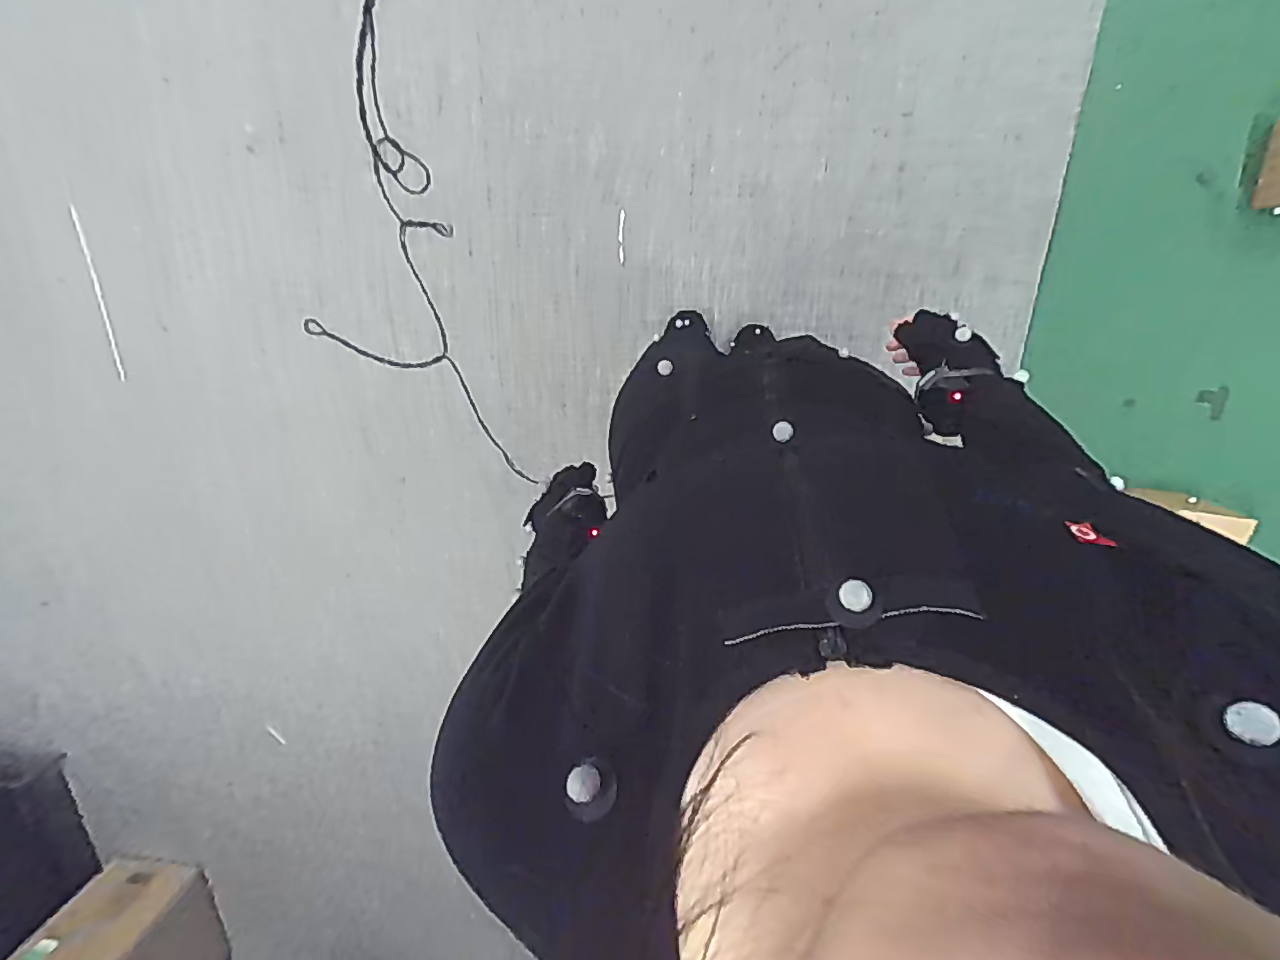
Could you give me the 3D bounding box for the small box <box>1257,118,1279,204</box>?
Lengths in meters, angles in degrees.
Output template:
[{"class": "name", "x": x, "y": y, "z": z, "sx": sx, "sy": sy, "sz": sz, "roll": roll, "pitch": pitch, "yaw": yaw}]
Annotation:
[{"class": "small box", "x": 1.392, "y": -0.649, "z": 1.058, "sx": 0.168, "sy": 0.176, "sz": 0.179, "roll": 0, "pitch": 107, "yaw": 7}]
